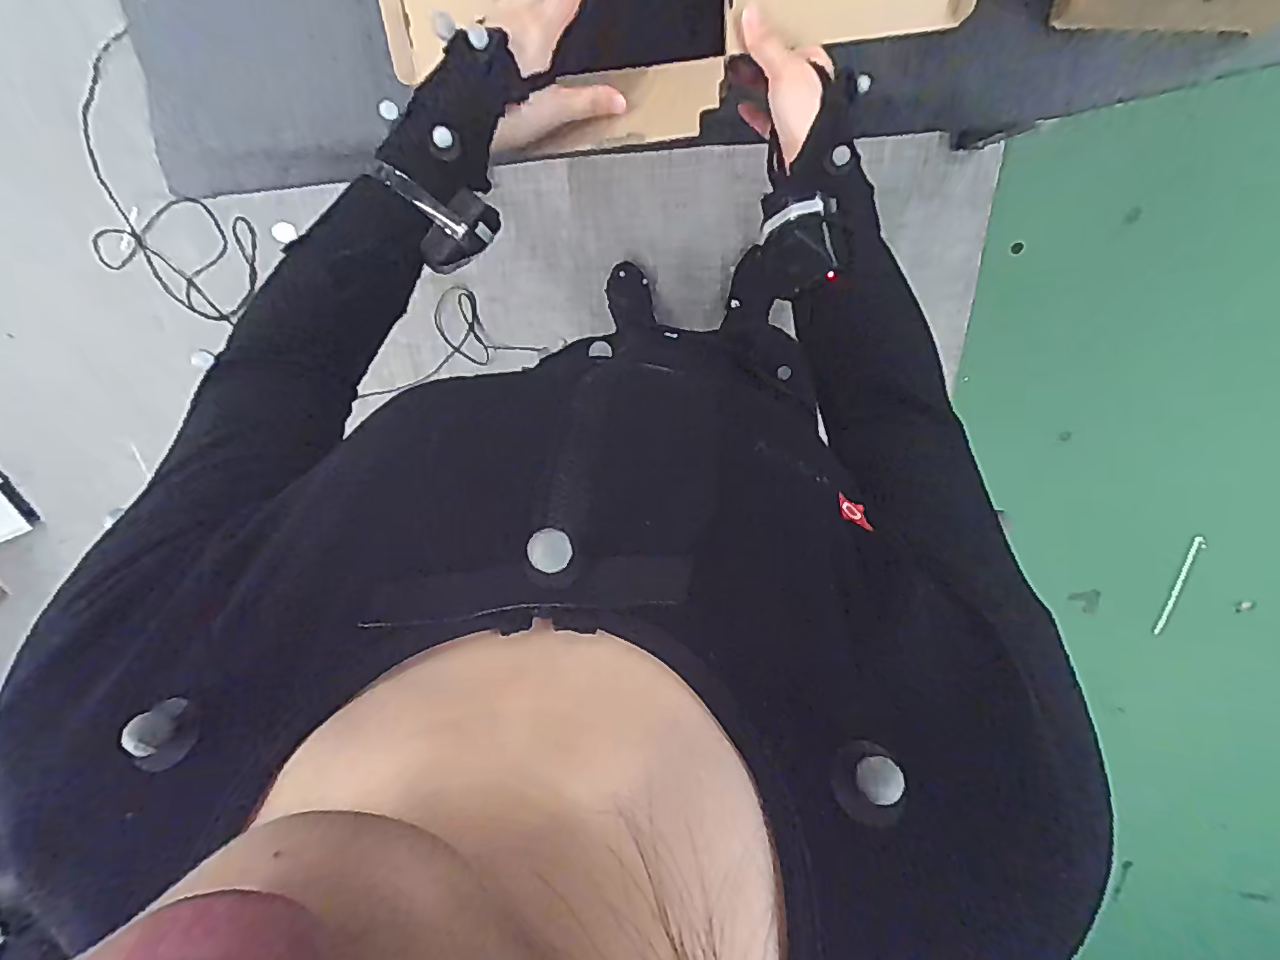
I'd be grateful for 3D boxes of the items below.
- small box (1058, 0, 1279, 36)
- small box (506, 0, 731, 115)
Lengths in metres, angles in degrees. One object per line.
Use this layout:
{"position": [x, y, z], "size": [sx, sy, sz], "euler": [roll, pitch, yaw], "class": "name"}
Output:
{"position": [0.453, -0.450, 0.386], "size": [0.179, 0.176, 0.168], "euler": [7, 112, 8], "class": "small box"}
{"position": [-0.011, -0.434, 0.473], "size": [0.179, 0.176, 0.168], "euler": [0, 117, 9], "class": "small box"}
